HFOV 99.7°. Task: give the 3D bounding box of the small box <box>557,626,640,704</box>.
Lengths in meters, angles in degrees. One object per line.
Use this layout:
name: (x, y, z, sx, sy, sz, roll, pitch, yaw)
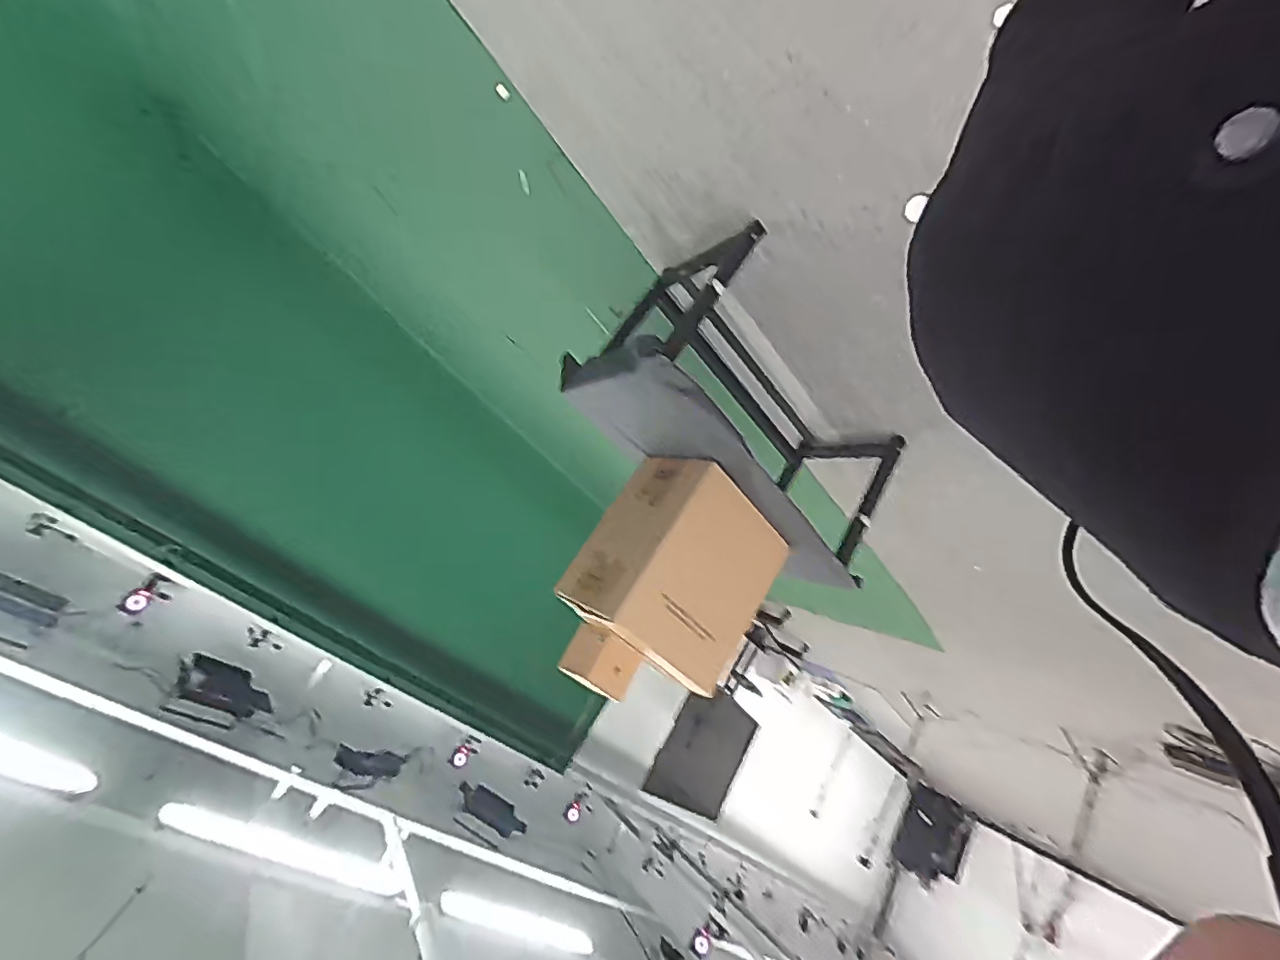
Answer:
small box: (-0.134, 0.604, 1.786, 0.168, 0.176, 0.179, -1, 141, 49)
